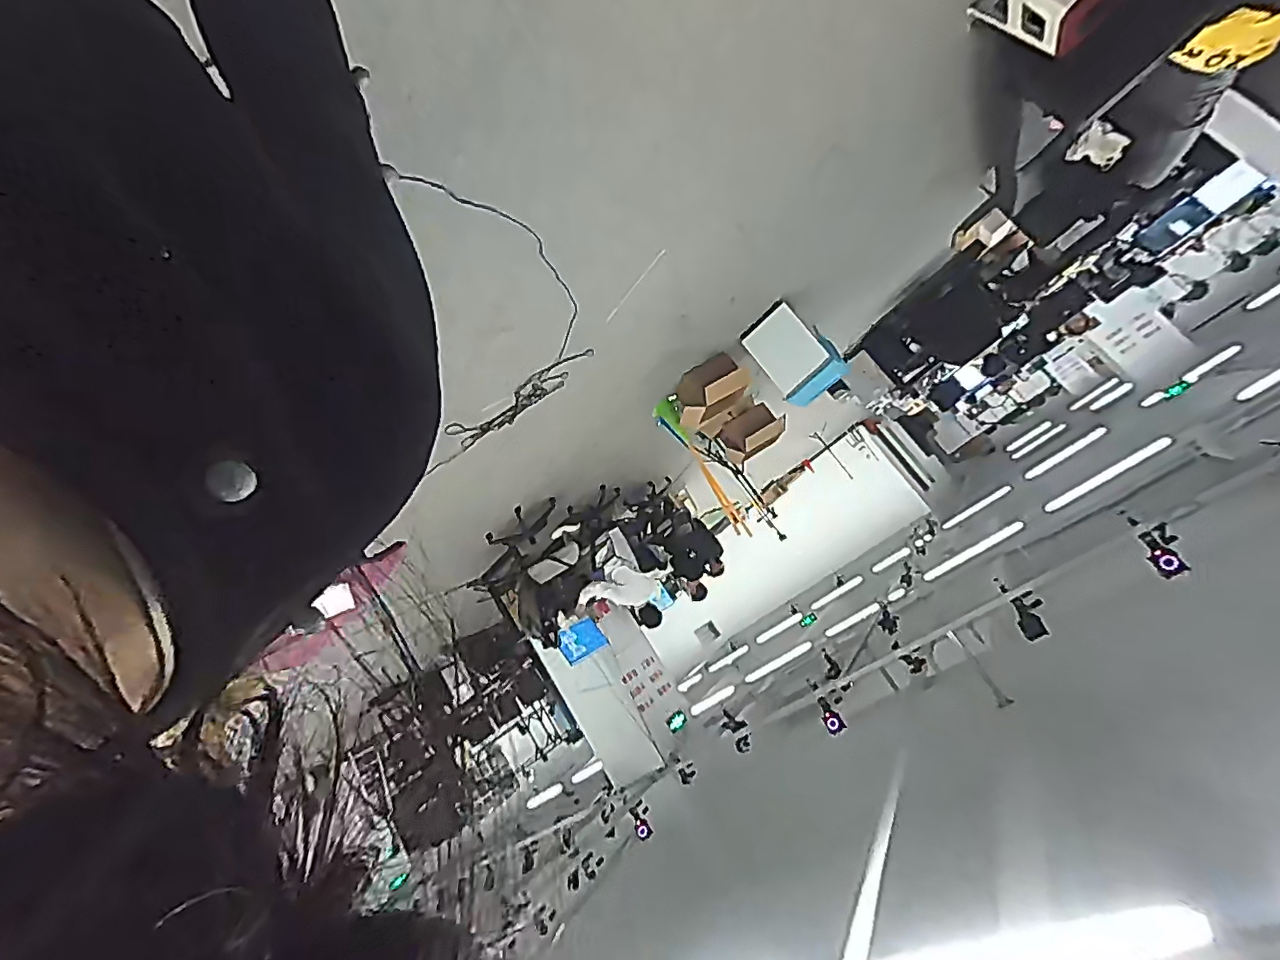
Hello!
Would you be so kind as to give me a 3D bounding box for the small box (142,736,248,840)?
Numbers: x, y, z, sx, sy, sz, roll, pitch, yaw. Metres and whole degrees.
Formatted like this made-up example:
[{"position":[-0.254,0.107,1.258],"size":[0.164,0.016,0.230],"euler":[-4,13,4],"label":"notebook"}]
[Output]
[{"position":[-1.254,0.854,1.520],"size":[0.179,0.176,0.168],"euler":[-44,163,24],"label":"small box"}]
